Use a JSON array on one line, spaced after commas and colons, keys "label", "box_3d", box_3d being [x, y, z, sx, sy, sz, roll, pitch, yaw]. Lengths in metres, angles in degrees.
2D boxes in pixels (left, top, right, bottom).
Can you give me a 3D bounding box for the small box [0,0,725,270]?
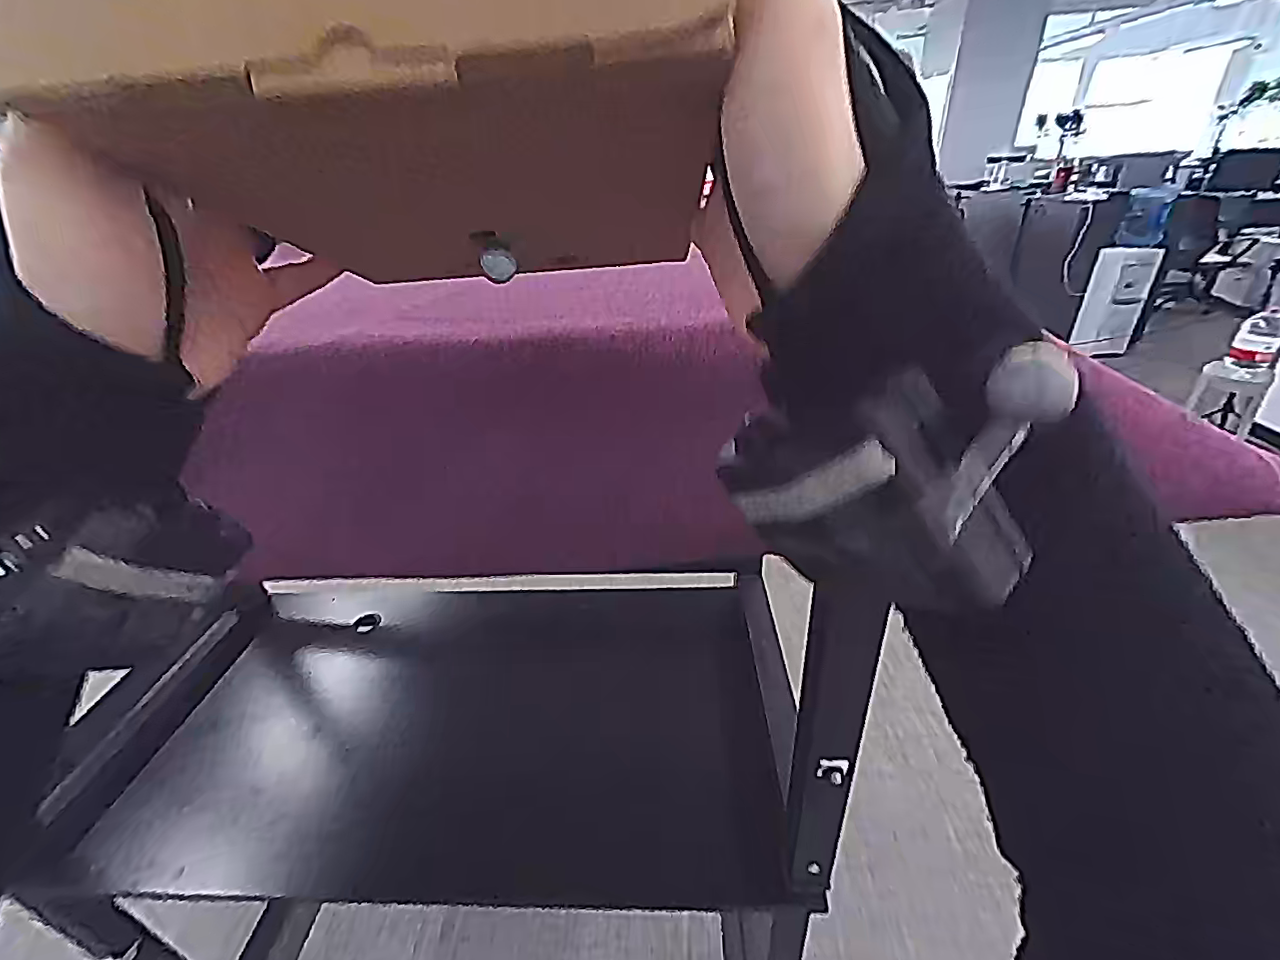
[{"label": "small box", "box_3d": [-0.065, -0.190, 0.185, 0.168, 0.179, 0.176, -3, 4, 2]}]
